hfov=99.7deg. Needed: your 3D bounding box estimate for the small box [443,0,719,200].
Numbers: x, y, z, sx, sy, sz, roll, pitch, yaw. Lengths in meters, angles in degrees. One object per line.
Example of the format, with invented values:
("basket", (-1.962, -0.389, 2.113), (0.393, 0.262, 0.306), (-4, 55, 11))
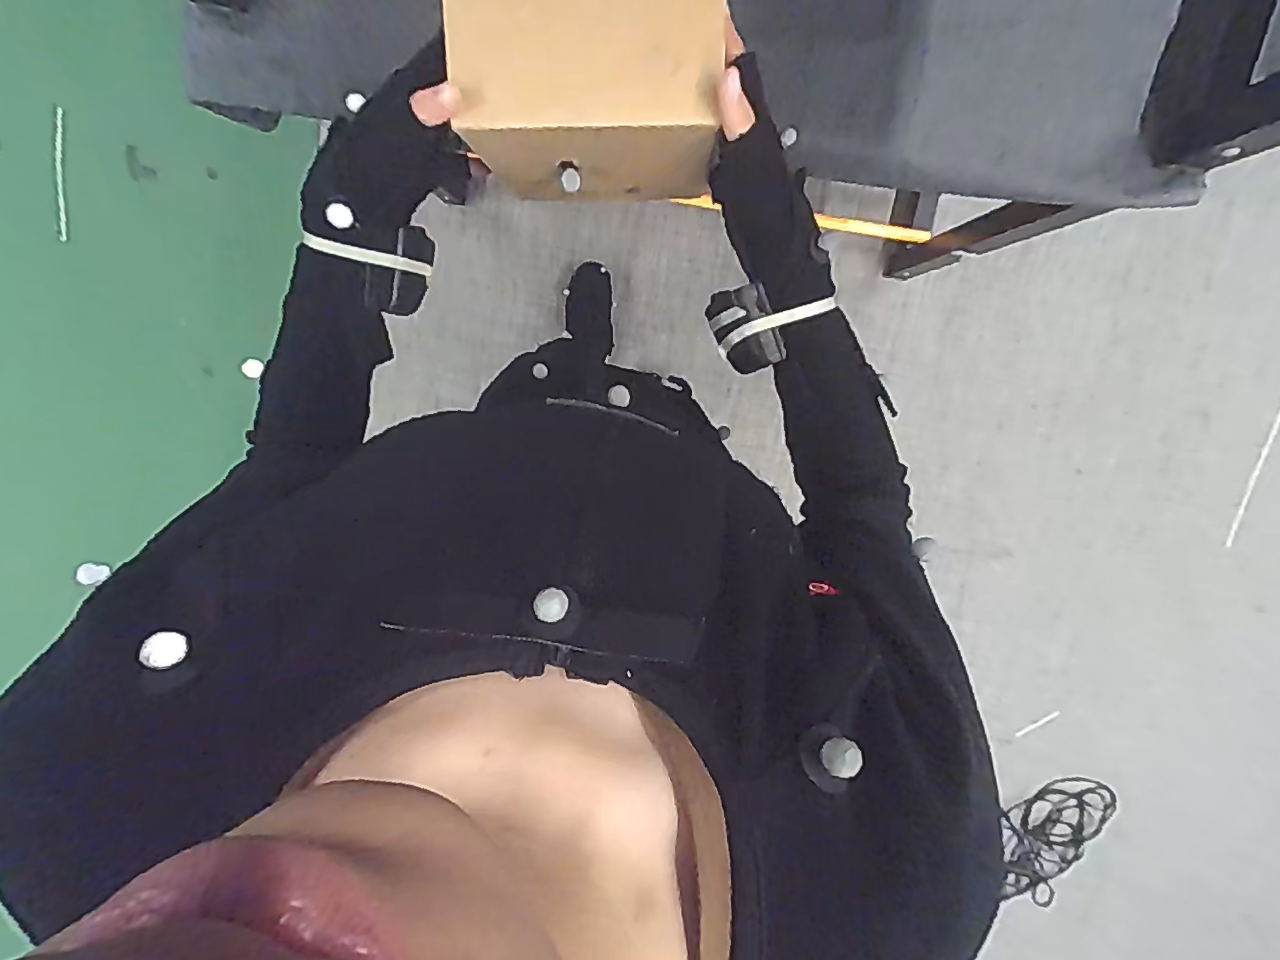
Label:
("small box", (-0.031, -0.314, 0.390), (0.168, 0.176, 0.179), (0, 103, 2))
